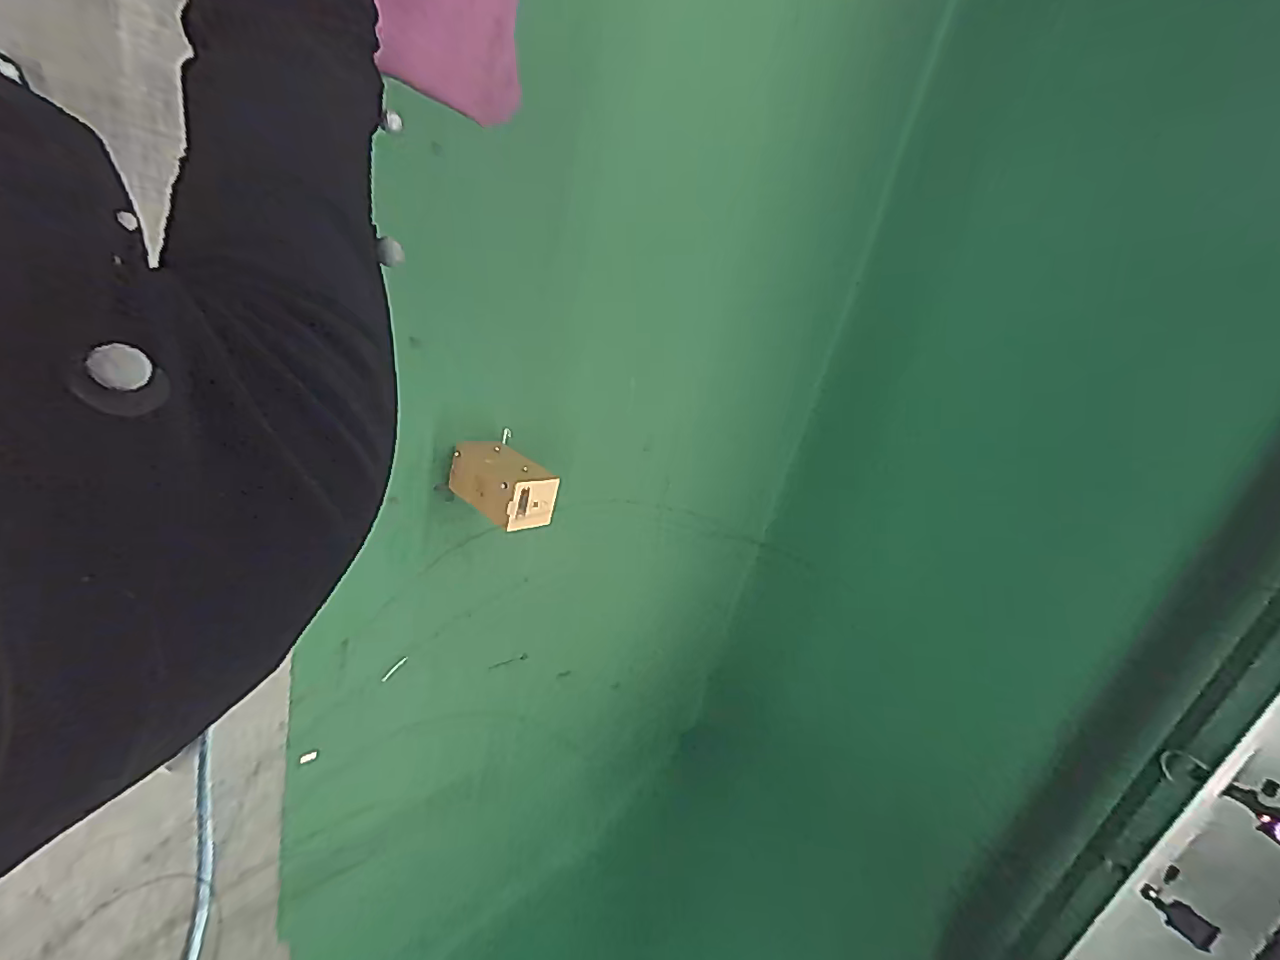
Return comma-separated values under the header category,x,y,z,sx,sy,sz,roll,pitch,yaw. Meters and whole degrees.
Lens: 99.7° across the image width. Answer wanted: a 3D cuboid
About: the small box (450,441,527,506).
category,x,y,z,sx,sy,sz,roll,pitch,yaw
small box,-0.513,-0.026,1.815,0.179,0.176,0.168,-6,118,-51
